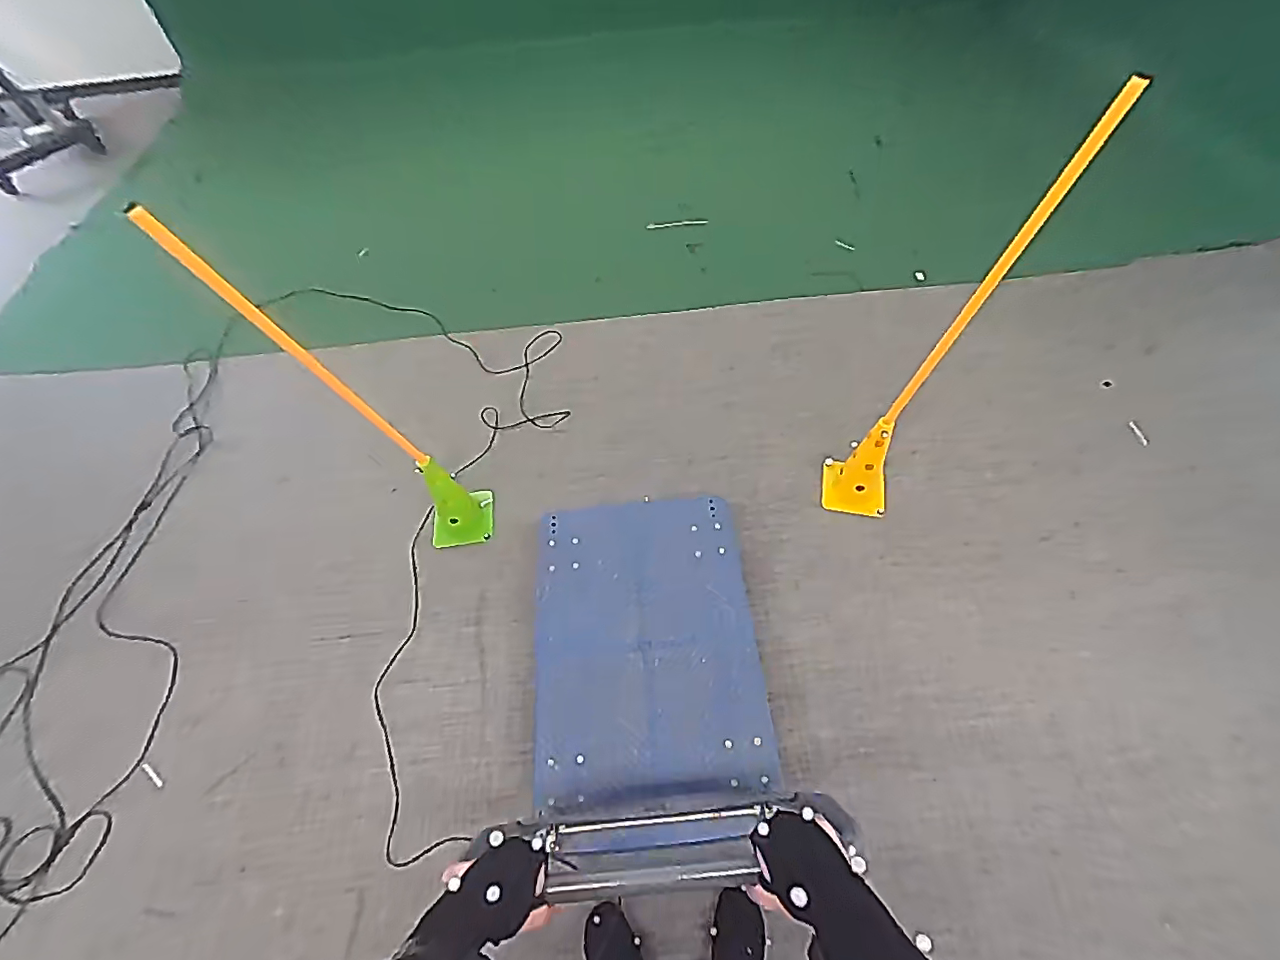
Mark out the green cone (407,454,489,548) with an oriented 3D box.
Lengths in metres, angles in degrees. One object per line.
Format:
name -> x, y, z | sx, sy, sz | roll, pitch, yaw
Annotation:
green cone -> -0.627, 0.034, 1.694 | 0.202, 0.368, 0.200 | -10, 56, -1
